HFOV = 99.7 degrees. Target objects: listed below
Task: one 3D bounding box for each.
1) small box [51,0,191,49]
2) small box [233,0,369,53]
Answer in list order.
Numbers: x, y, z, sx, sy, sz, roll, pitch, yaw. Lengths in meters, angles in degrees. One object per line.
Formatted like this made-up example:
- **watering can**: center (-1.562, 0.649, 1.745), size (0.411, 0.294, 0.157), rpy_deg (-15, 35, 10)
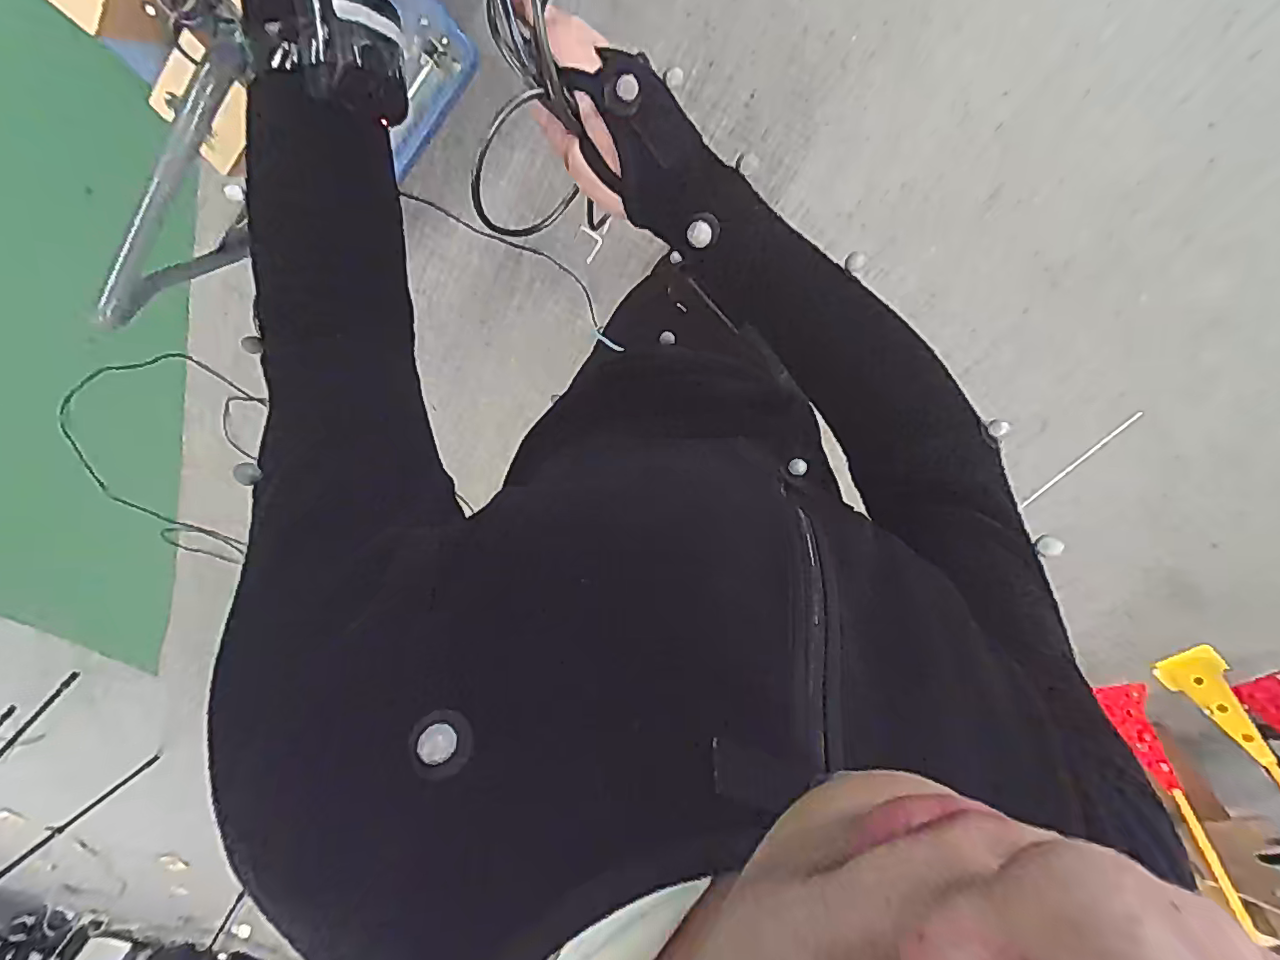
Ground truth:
- **small box**: center (-0.981, -0.942, 0.998), size (0.179, 0.176, 0.168), rpy_deg (41, 119, -19)
- **small box**: center (-0.633, -0.914, 0.971), size (0.168, 0.176, 0.179), rpy_deg (-34, 115, 26)
